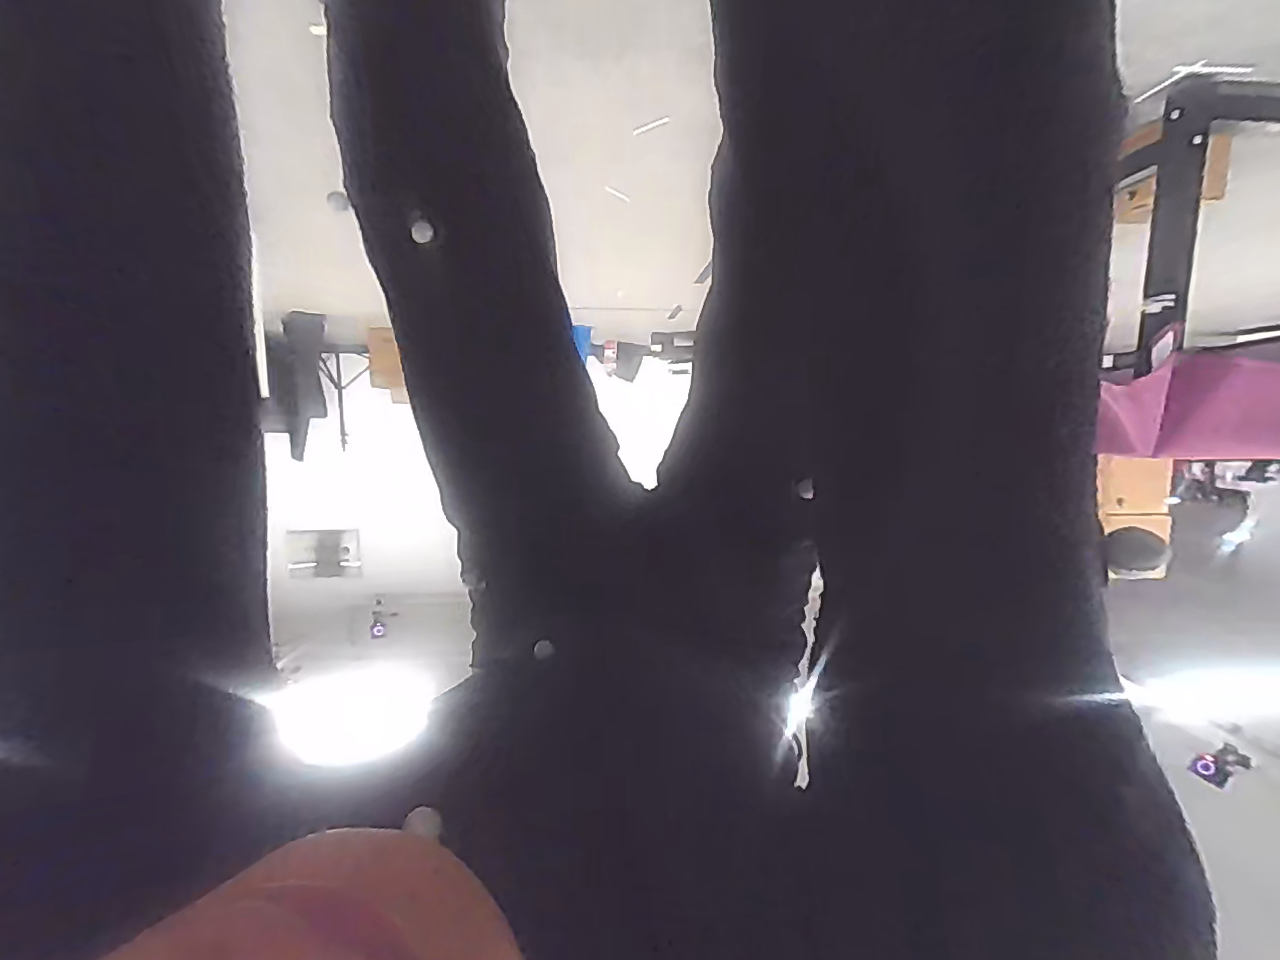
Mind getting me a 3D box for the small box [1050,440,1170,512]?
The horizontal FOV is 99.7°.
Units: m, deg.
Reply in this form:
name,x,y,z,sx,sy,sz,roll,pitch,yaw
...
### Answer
name,x,y,z,sx,sy,sz,roll,pitch,yaw
small box,1.241,-0.015,1.430,0.179,0.176,0.168,0,-173,-4
